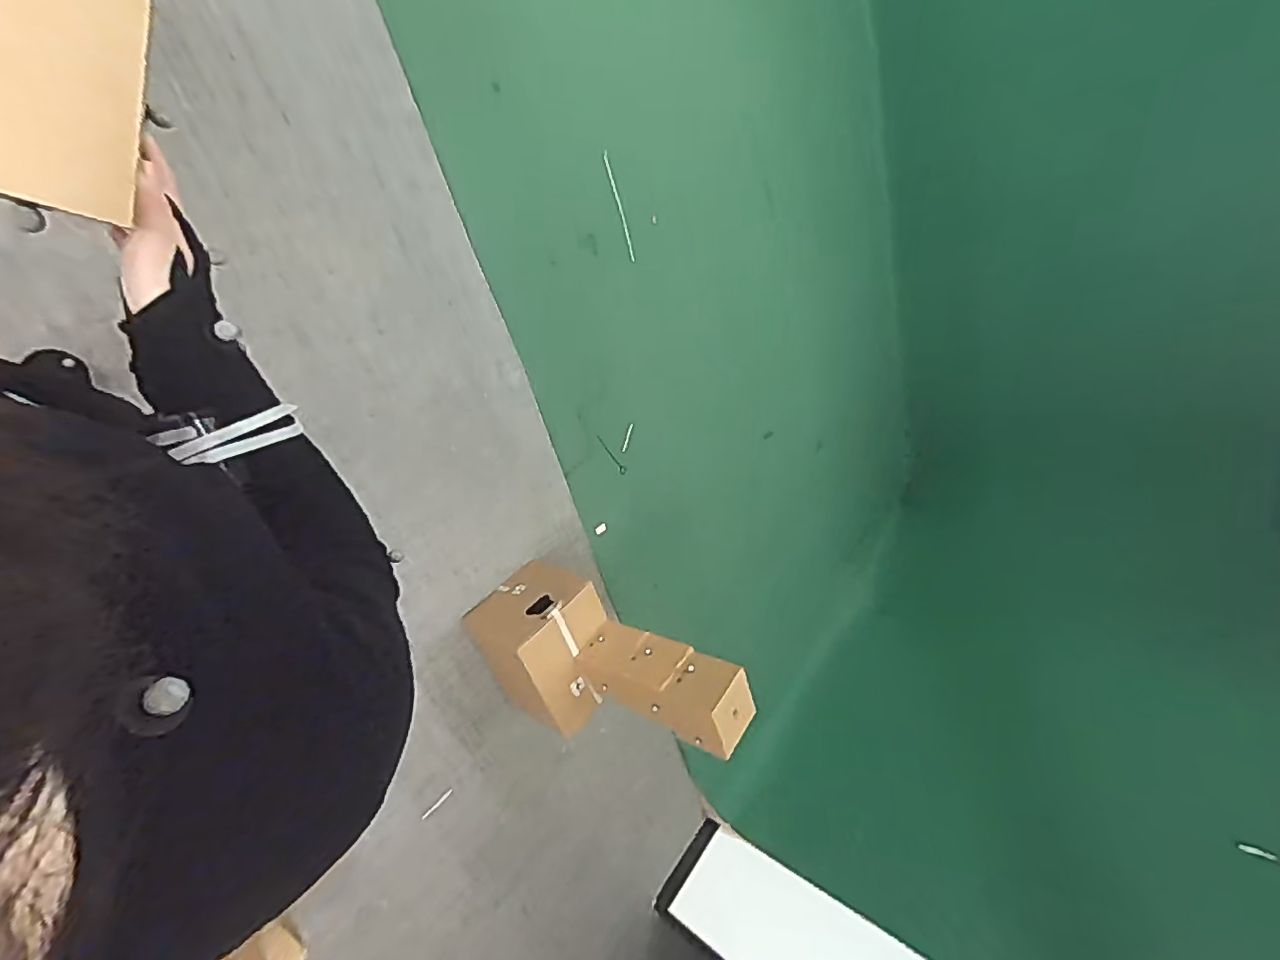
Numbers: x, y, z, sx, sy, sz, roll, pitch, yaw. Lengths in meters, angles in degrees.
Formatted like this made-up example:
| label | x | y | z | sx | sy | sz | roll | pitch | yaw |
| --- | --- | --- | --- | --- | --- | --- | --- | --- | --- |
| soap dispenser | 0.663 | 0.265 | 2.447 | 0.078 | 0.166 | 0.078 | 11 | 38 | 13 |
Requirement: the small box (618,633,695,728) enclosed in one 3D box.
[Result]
| label | x | y | z | sx | sy | sz | roll | pitch | yaw |
| --- | --- | --- | --- | --- | --- | --- | --- | --- | --- |
| small box | 0.065 | 0.575 | 1.574 | 0.168 | 0.176 | 0.179 | -42 | 123 | -38 |

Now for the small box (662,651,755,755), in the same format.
| label | x | y | z | sx | sy | sz | roll | pitch | yaw |
| --- | --- | --- | --- | --- | --- | --- | --- | --- | --- |
| small box | 0.186 | 0.596 | 1.466 | 0.168 | 0.176 | 0.179 | -40 | 122 | -39 |

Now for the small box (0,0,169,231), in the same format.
| label | x | y | z | sx | sy | sz | roll | pitch | yaw |
| --- | --- | --- | --- | --- | --- | --- | --- | --- | --- |
| small box | -0.391 | -0.259 | 0.306 | 0.179 | 0.176 | 0.168 | 4 | 106 | -44 |

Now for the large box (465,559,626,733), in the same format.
| label | x | y | z | sx | sy | sz | roll | pitch | yaw |
| --- | --- | --- | --- | --- | --- | --- | --- | --- | --- |
| large box | -0.299 | 0.529 | 1.778 | 0.320 | 0.320 | 0.408 | -40 | 124 | -36 |
